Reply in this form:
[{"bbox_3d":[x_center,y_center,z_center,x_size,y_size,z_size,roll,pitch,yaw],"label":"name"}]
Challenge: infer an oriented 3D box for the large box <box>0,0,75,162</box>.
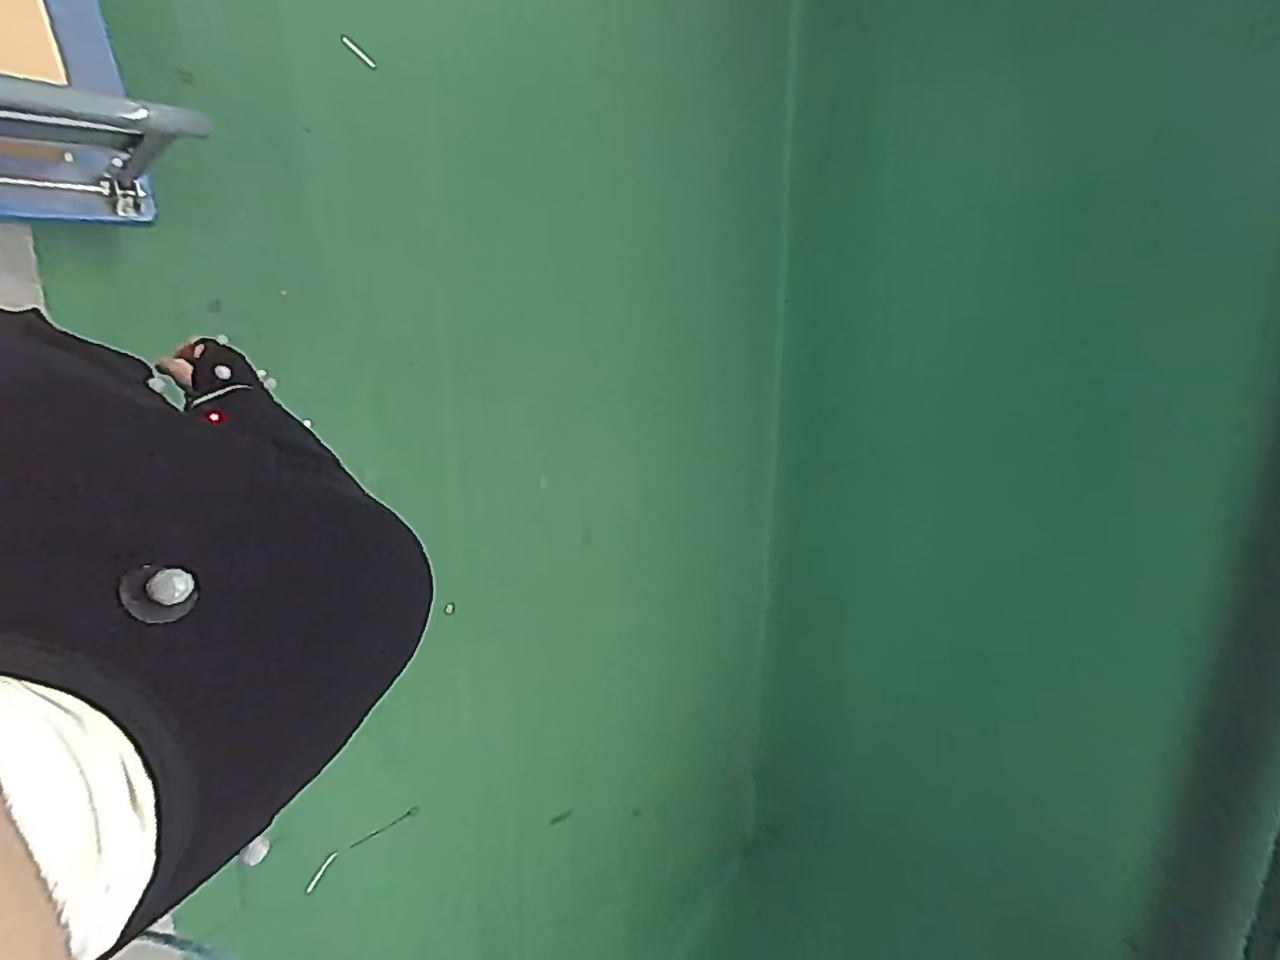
[{"bbox_3d":[-1.049,-0.703,0.724,0.320,0.320,0.408,-21,112,-45],"label":"large box"}]
